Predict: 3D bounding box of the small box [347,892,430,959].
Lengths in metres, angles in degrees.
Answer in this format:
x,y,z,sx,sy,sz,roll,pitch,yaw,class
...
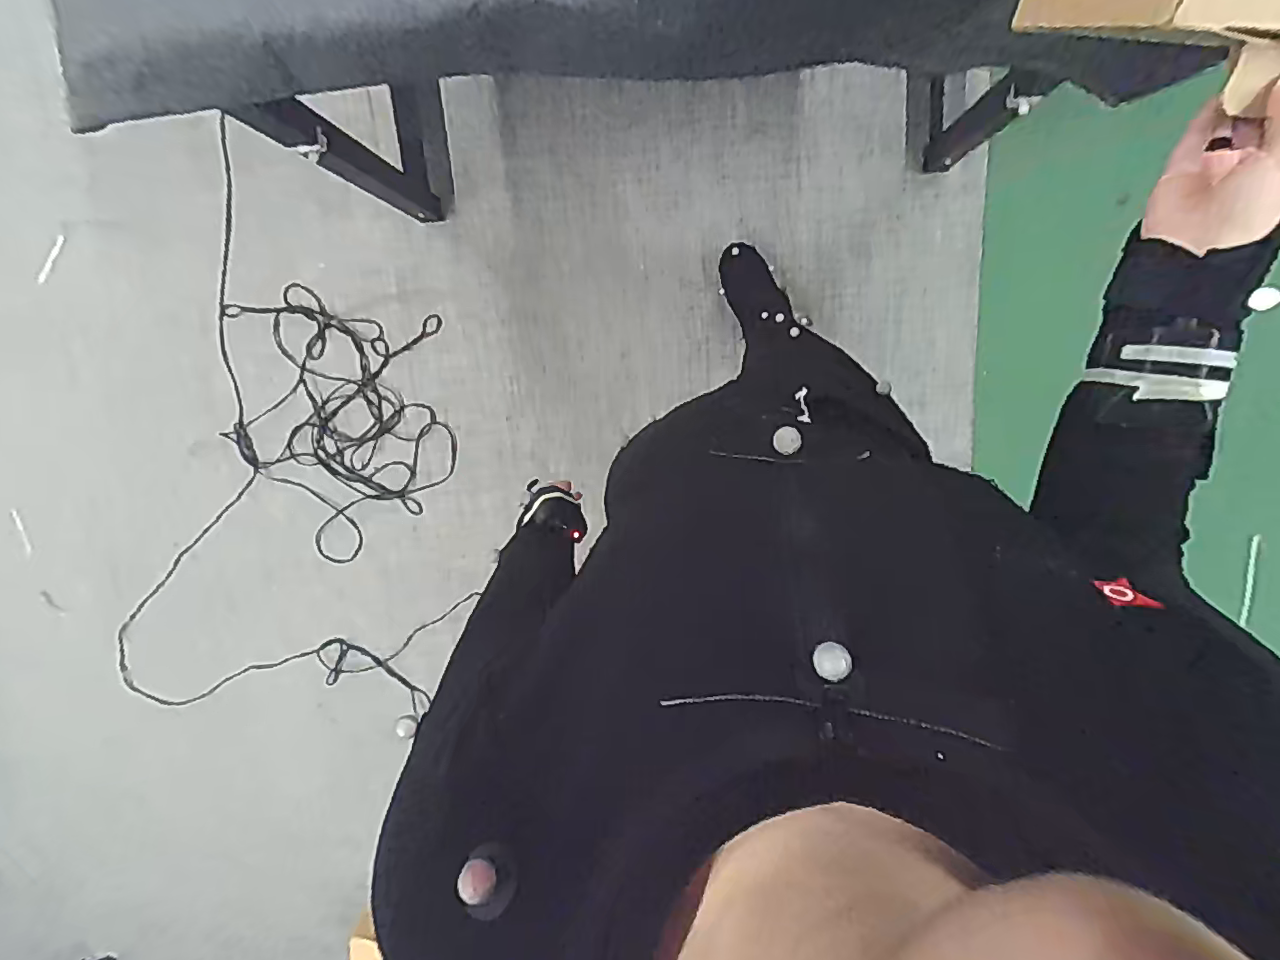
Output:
x,y,z,sx,sy,sz,roll,pitch,yaw,class
-0.731,1.366,1.583,0.168,0.176,0.179,7,102,3,small box

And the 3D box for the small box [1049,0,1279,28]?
x,y,z,sx,sy,sz,roll,pitch,yaw,class
0.363,-0.359,0.288,0.168,0.176,0.179,2,129,-1,small box
